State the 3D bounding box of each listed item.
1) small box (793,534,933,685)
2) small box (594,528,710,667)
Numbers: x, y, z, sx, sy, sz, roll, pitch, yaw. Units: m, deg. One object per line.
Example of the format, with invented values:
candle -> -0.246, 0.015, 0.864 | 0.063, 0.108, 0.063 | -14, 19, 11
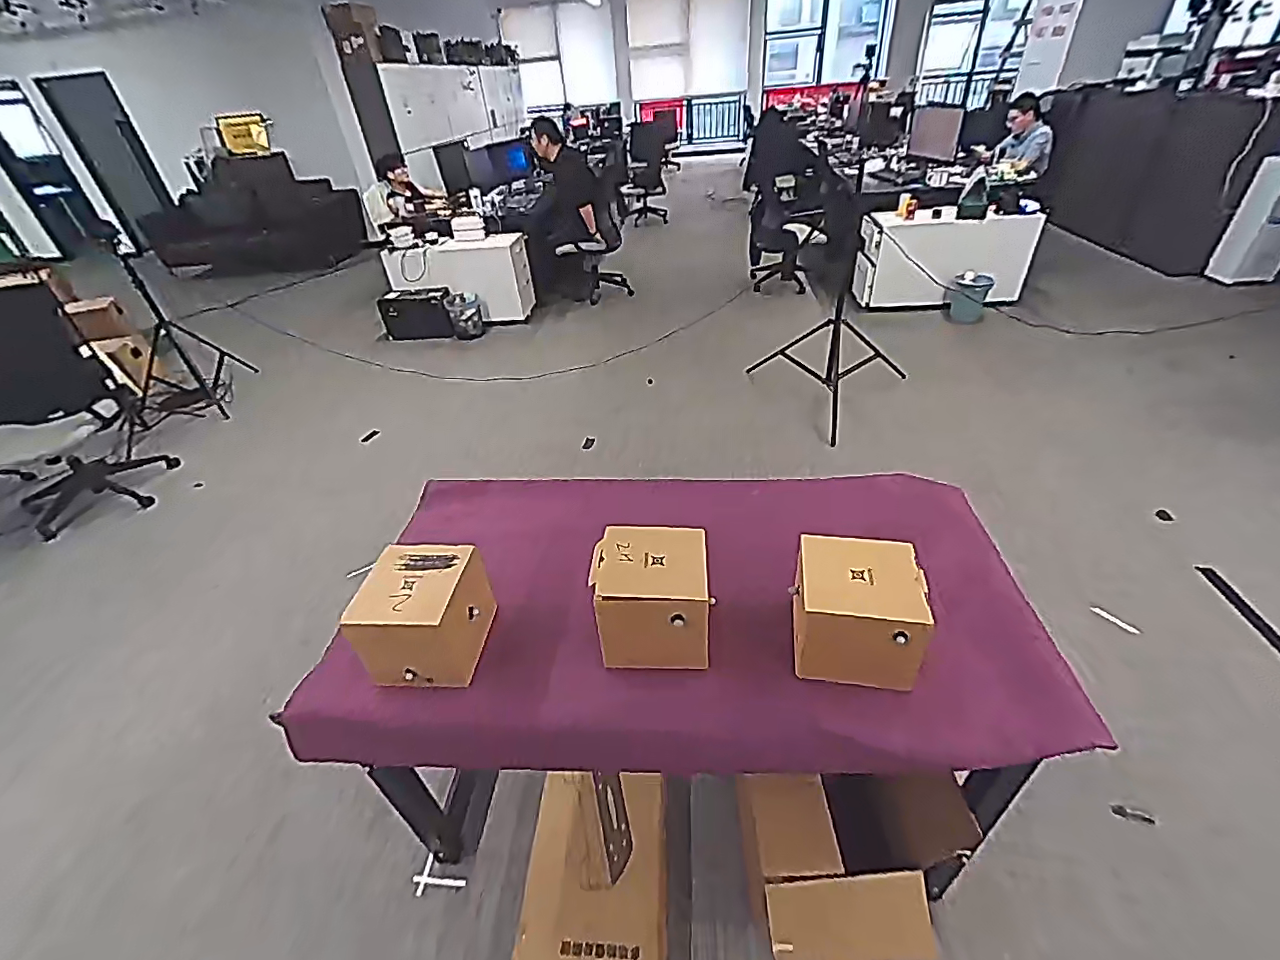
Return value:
small box -> 0.341, 0.206, 0.868 | 0.179, 0.176, 0.168 | 3, 37, 11
small box -> 0.027, 0.199, 0.917 | 0.179, 0.176, 0.168 | -2, 34, 6
